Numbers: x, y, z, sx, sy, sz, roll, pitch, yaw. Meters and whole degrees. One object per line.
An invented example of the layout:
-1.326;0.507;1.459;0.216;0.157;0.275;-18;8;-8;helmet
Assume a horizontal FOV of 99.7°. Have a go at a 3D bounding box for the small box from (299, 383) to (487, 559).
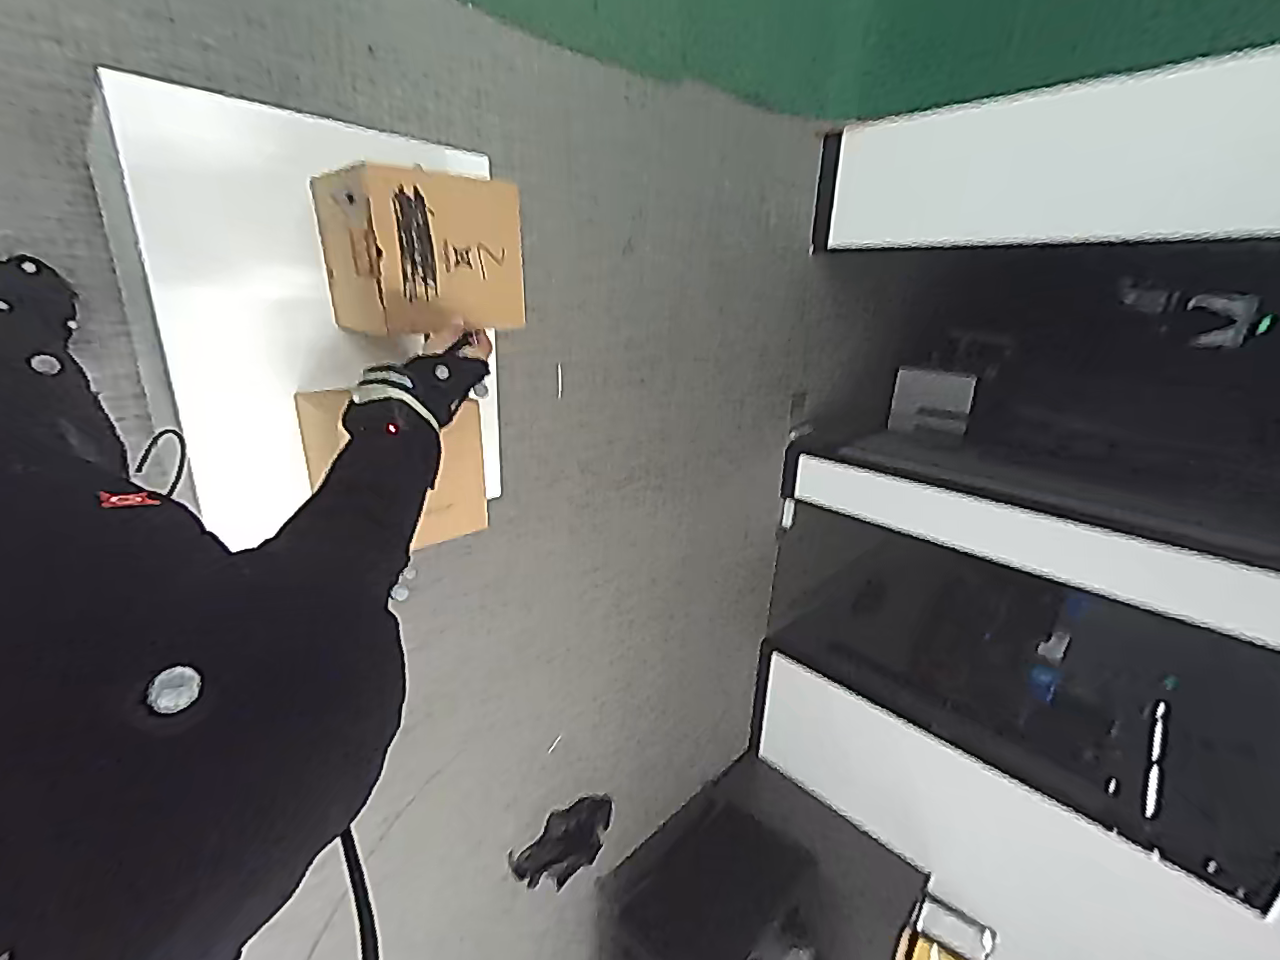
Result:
-0.317;-0.027;0.697;0.168;0.176;0.179;-16;117;-41;small box
